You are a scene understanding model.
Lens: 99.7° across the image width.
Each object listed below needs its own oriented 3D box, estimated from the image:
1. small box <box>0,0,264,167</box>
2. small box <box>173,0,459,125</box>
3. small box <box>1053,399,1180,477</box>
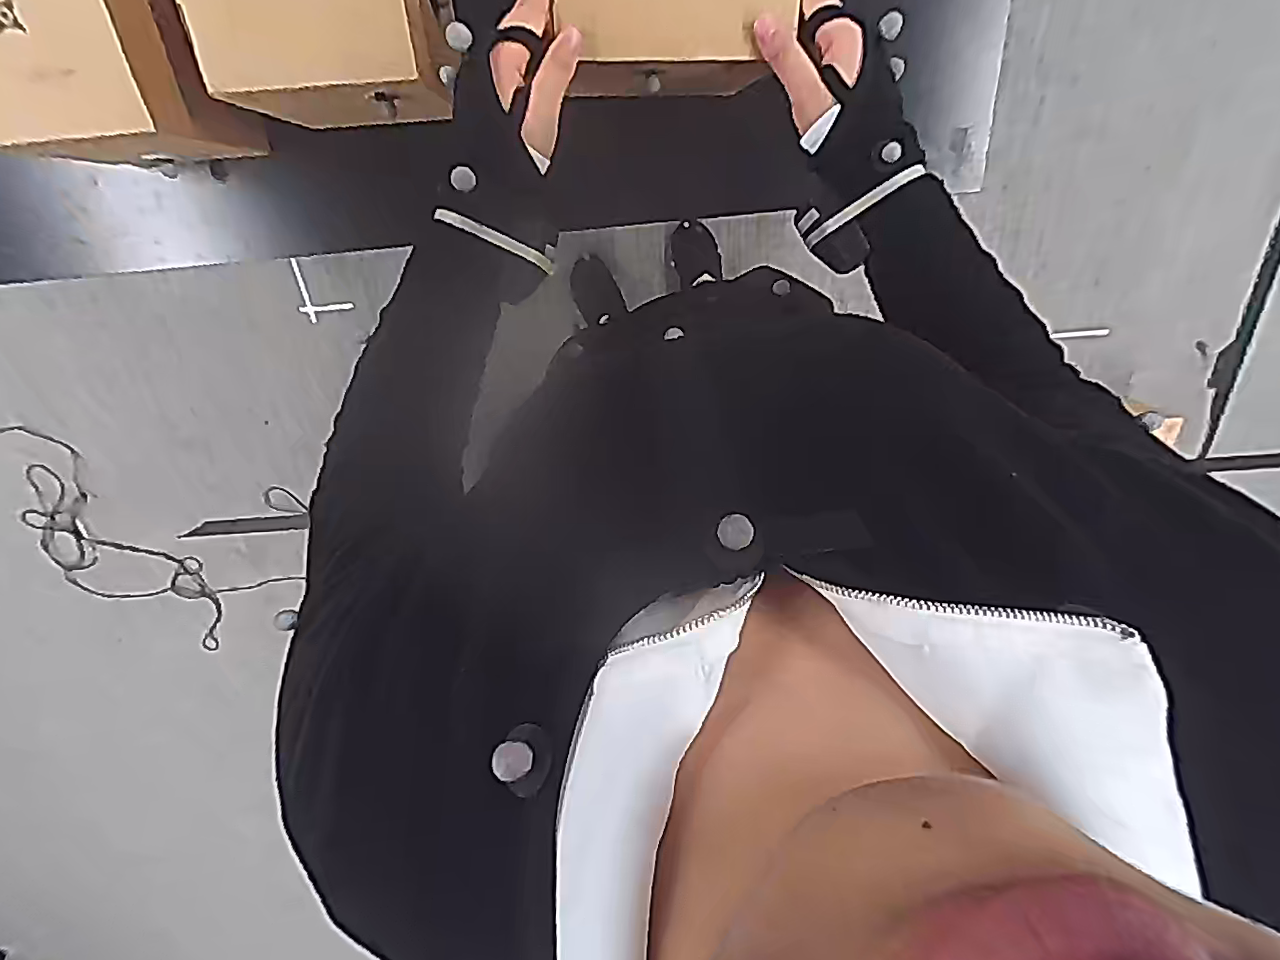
[{"bbox_3d":[-0.488,-0.392,0.480,0.168,0.176,0.179,-5,116,2],"label":"small box"},{"bbox_3d":[-0.271,-0.423,0.471,0.179,0.176,0.168,-4,115,0],"label":"small box"},{"bbox_3d":[1.278,-0.118,1.468,0.179,0.176,0.168,-3,115,0],"label":"small box"}]
